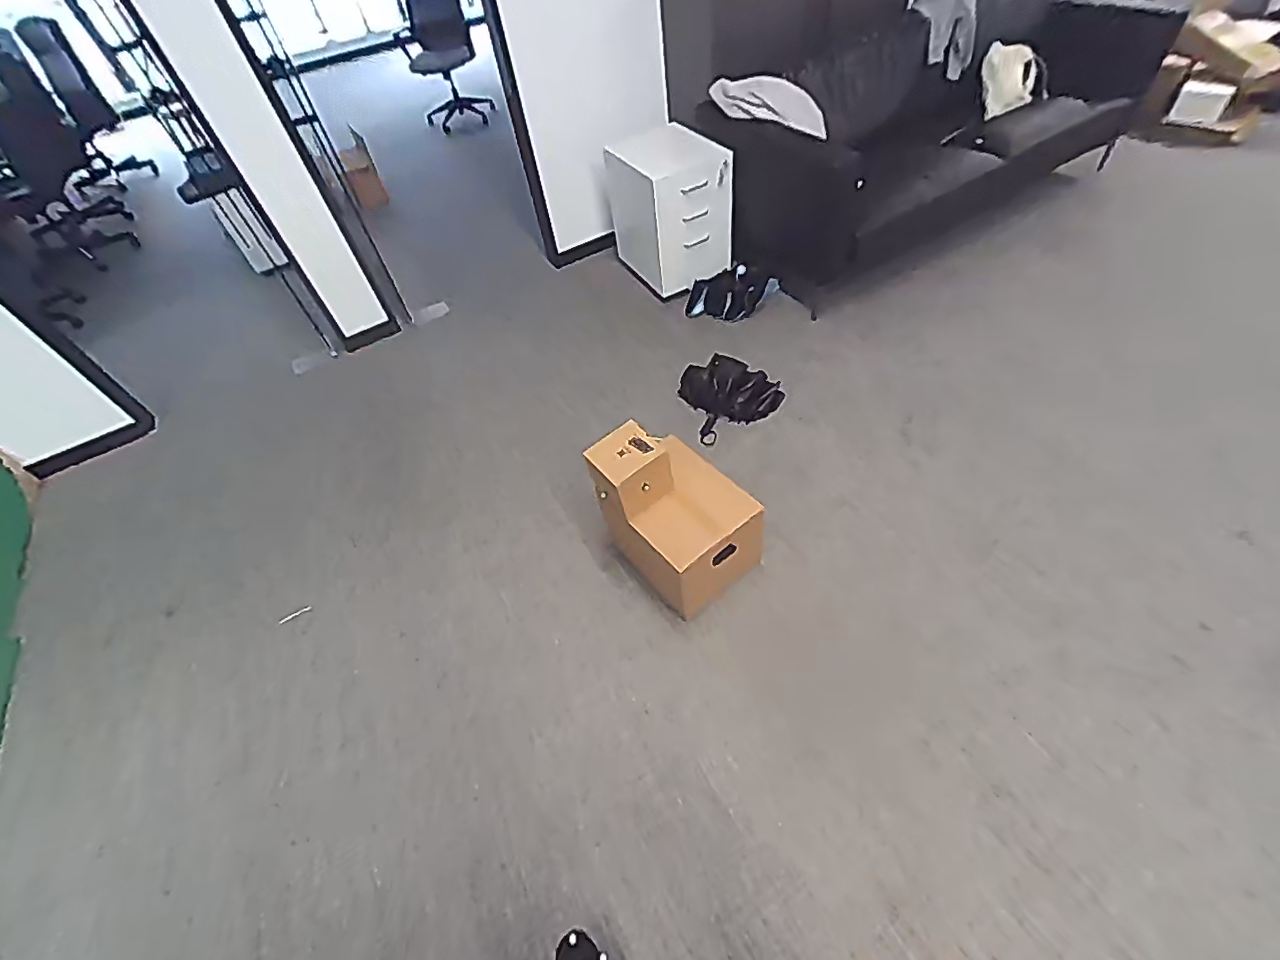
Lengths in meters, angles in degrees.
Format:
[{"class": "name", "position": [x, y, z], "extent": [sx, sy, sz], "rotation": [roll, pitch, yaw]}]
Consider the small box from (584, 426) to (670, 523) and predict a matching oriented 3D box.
[{"class": "small box", "position": [-0.029, -0.014, 1.534], "extent": [0.179, 0.176, 0.168], "rotation": [-36, 54, -15]}]
